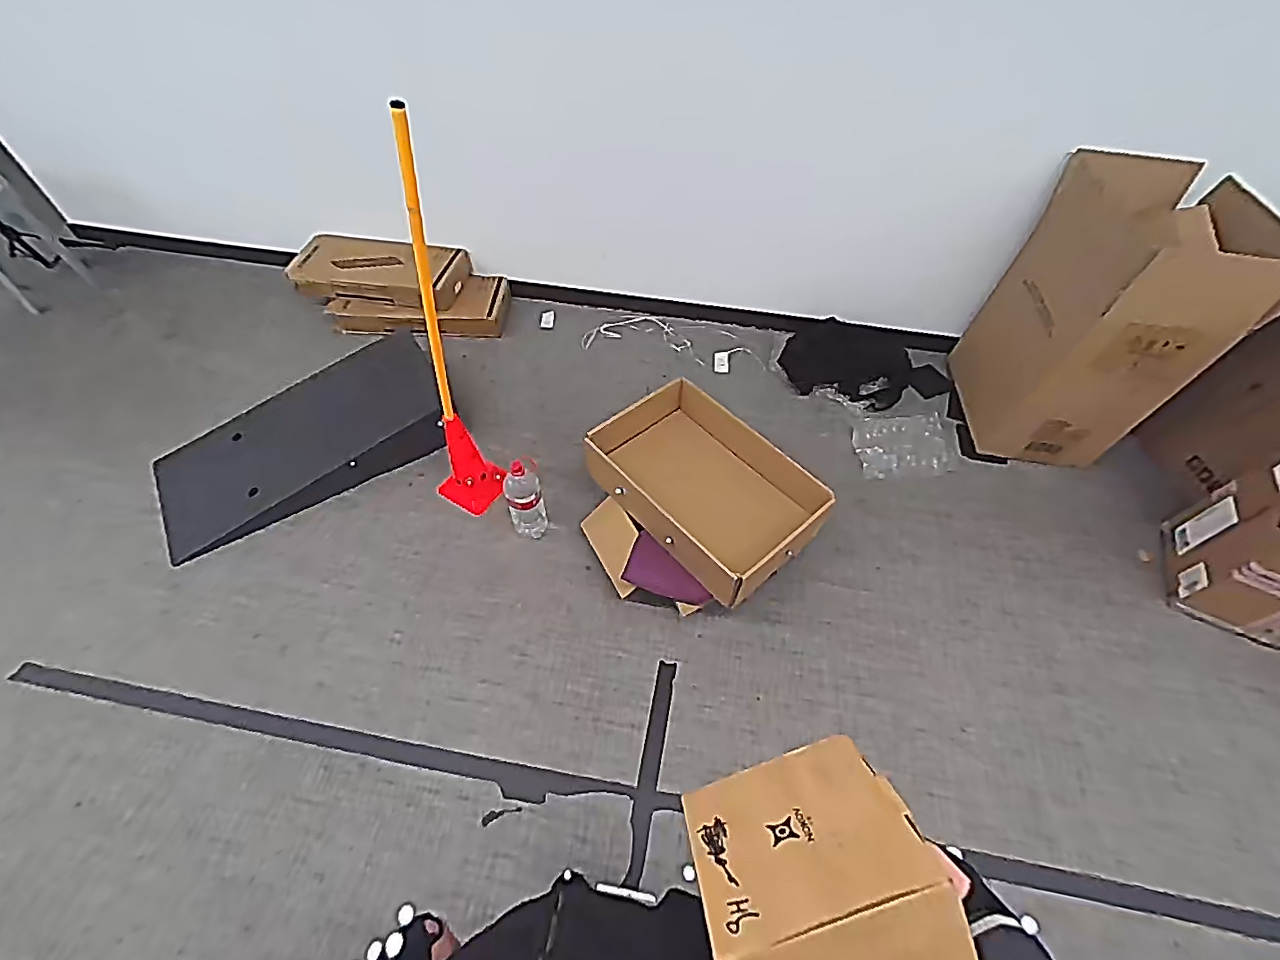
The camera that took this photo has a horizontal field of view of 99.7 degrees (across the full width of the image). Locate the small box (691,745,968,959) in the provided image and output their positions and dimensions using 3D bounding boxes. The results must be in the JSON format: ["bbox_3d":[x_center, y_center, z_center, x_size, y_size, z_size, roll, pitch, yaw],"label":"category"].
[{"bbox_3d":[0.161,0.379,0.472,0.179,0.168,0.176,-19,98,-1],"label":"small box"}]
